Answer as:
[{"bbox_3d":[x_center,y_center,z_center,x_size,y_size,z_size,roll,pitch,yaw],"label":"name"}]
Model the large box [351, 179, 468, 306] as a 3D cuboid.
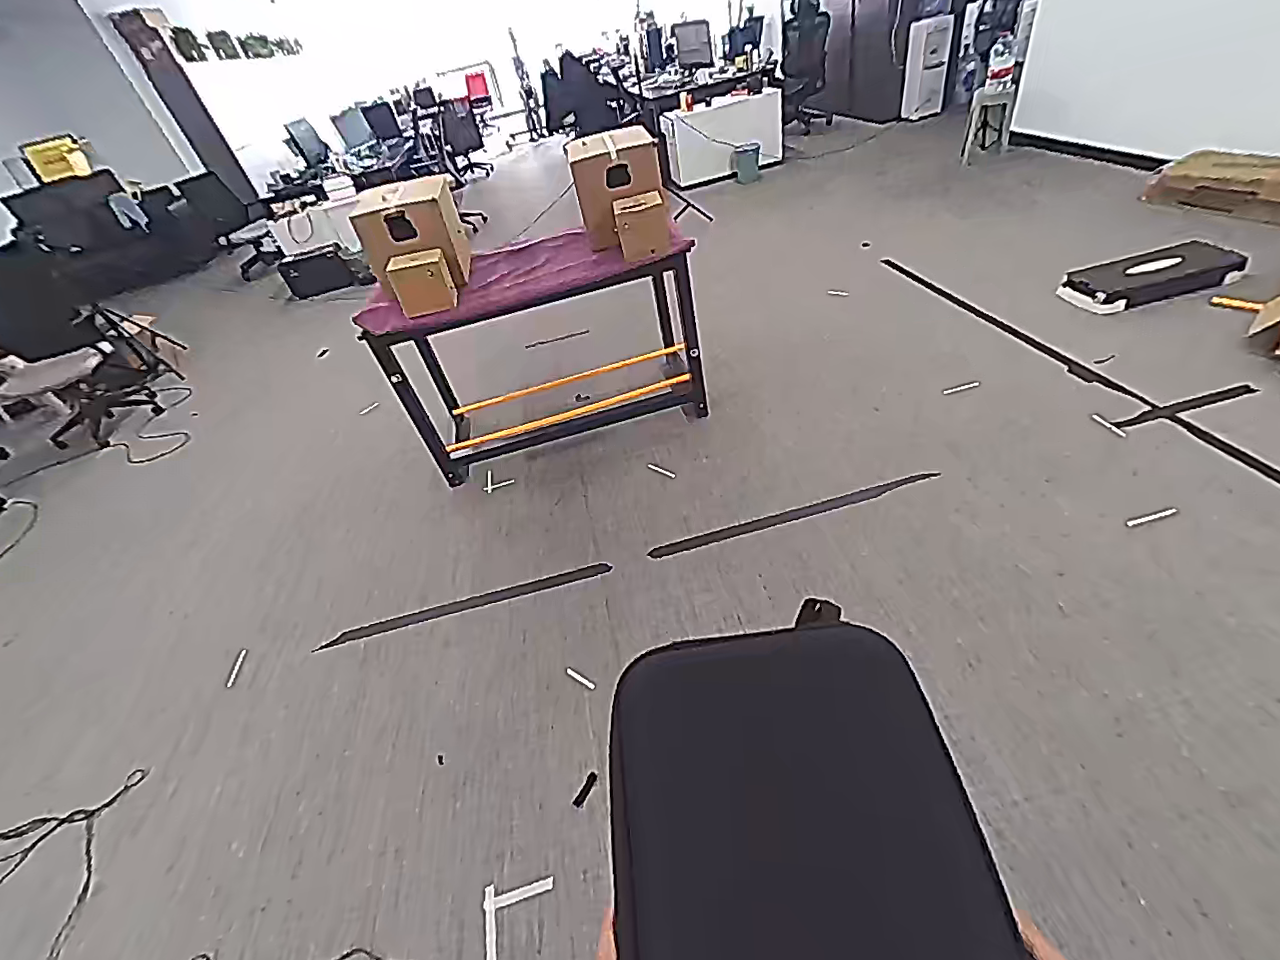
[{"bbox_3d":[-0.873,-0.933,2.108,0.320,0.320,0.408,-15,43,-3],"label":"large box"}]
